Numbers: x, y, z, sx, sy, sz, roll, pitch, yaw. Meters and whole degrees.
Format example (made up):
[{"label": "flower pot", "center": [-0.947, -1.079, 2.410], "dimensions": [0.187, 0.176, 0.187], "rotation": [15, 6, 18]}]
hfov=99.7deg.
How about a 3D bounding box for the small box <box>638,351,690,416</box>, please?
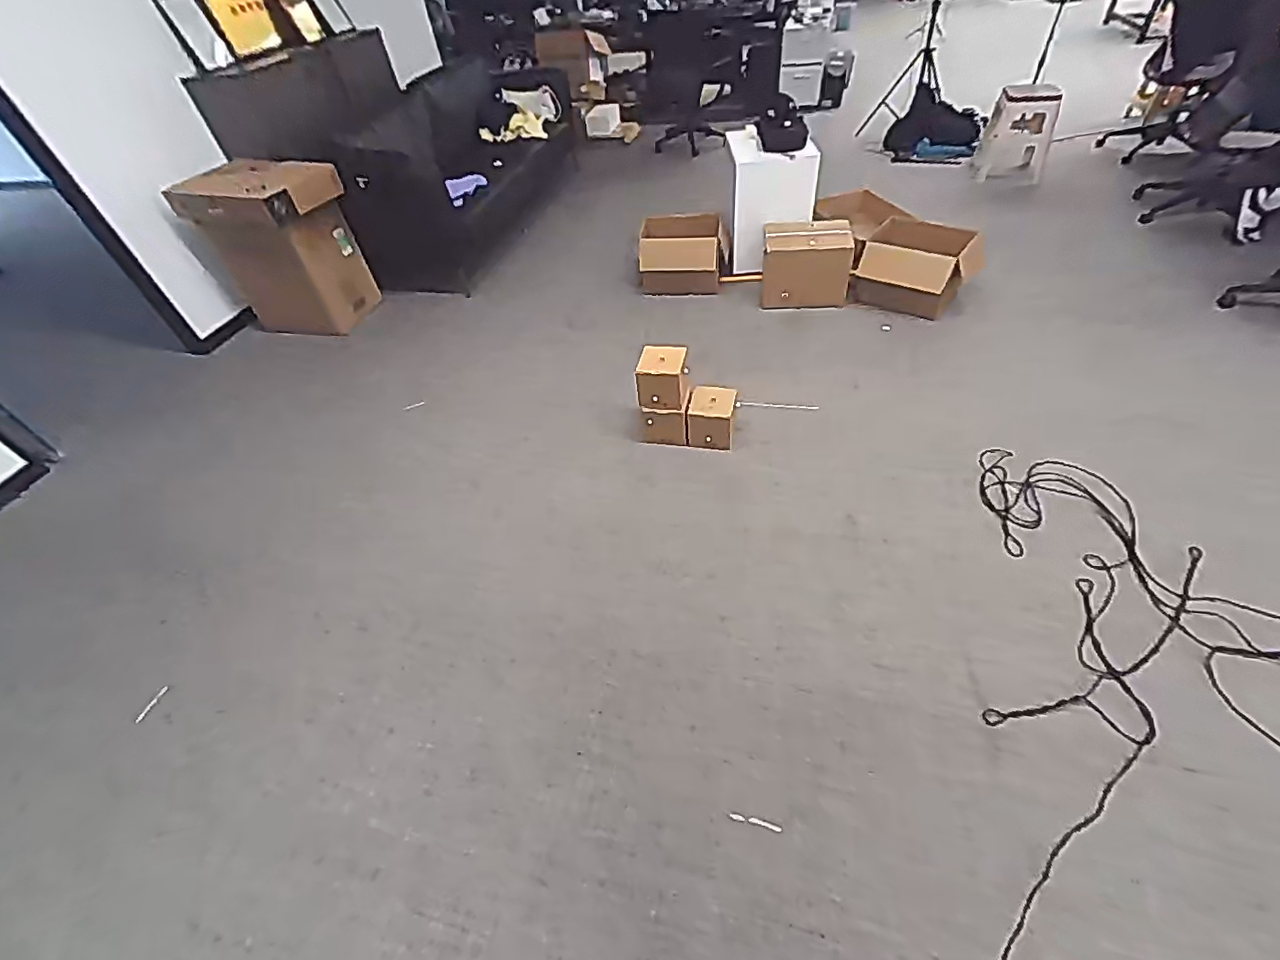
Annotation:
[{"label": "small box", "center": [0.096, -0.368, 2.061], "dimensions": [0.168, 0.176, 0.179], "rotation": [5, 47, 12]}]
